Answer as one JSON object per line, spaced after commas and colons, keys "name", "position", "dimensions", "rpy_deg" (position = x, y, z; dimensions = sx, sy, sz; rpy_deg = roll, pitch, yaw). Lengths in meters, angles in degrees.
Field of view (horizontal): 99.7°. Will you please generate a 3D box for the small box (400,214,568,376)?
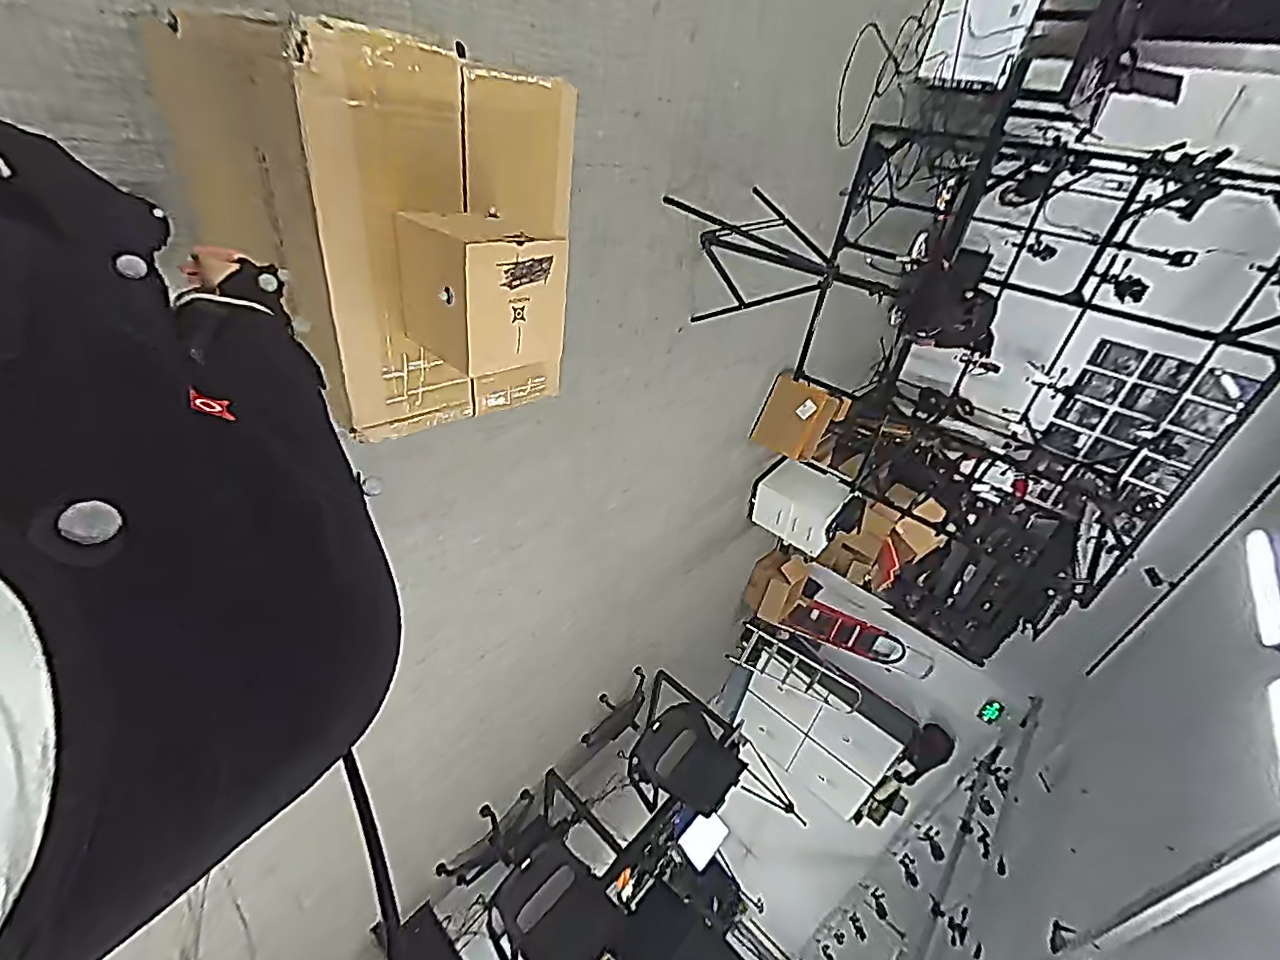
{"name": "small box", "position": [-0.225, -0.272, 0.774], "dimensions": [0.168, 0.176, 0.179], "rpy_deg": [-25, 137, -42]}
